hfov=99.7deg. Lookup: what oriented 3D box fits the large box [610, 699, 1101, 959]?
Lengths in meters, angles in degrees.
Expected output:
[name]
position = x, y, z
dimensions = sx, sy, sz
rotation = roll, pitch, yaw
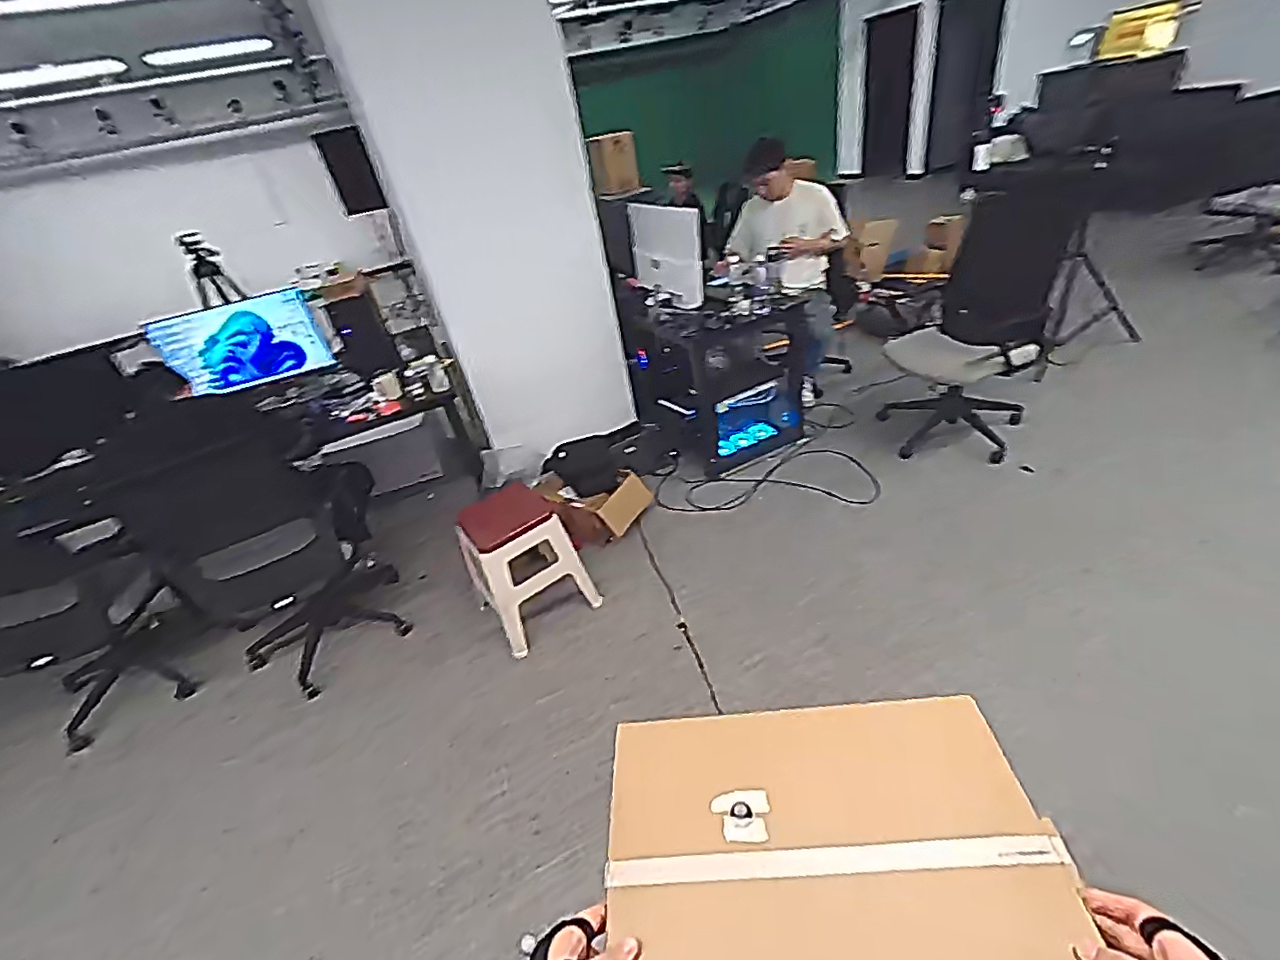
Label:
[large box]
position = 0.200, 0.483, 0.590
dimensions = 0.408, 0.320, 0.320
rotation = -9, 33, 9
